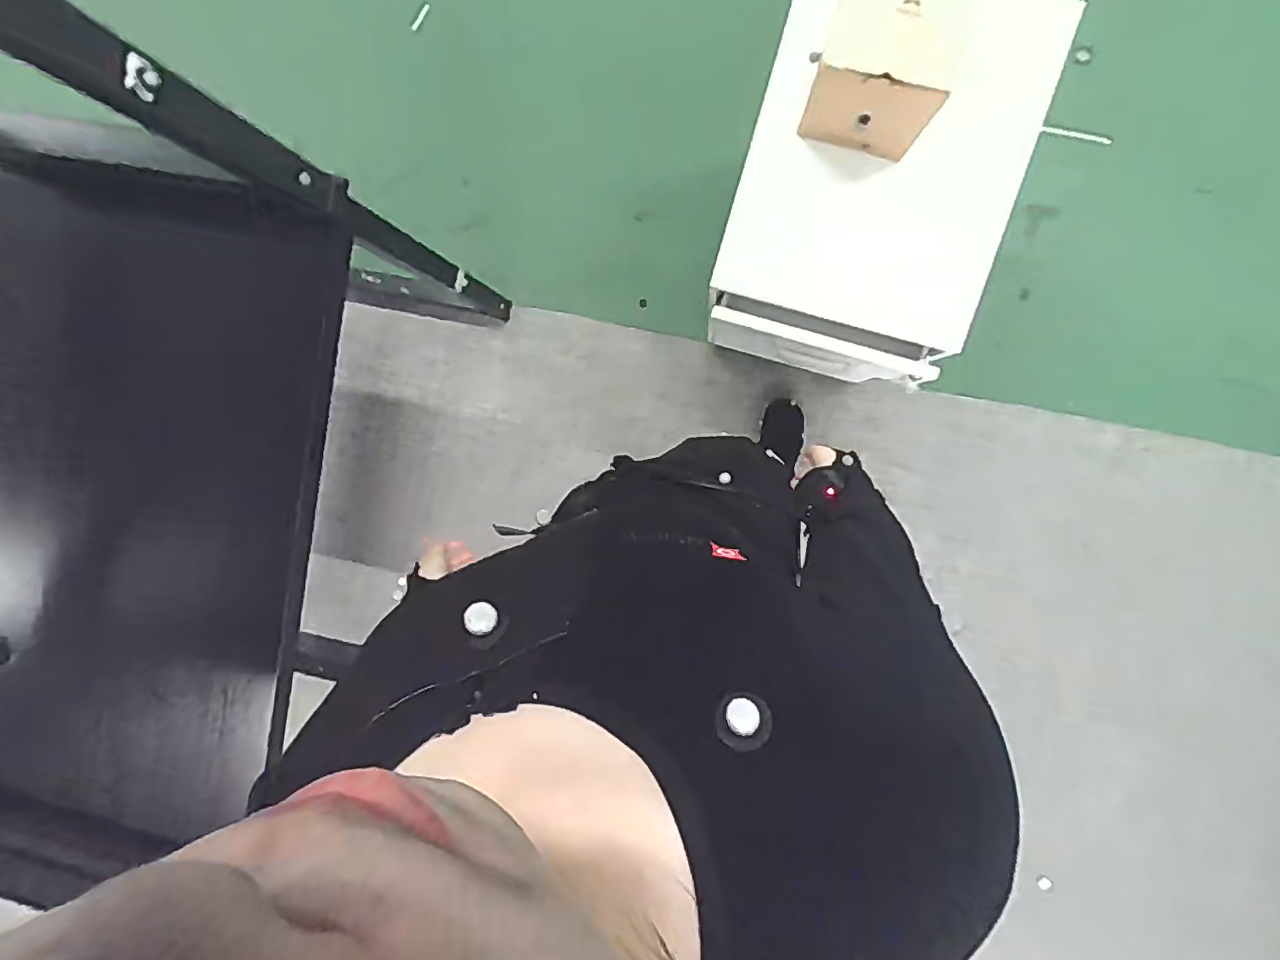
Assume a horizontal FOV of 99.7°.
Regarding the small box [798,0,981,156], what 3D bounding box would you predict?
[{"bbox_3d":[0.321,-0.568,0.715,0.168,0.176,0.179,17,98,4],"label":"small box"}]
